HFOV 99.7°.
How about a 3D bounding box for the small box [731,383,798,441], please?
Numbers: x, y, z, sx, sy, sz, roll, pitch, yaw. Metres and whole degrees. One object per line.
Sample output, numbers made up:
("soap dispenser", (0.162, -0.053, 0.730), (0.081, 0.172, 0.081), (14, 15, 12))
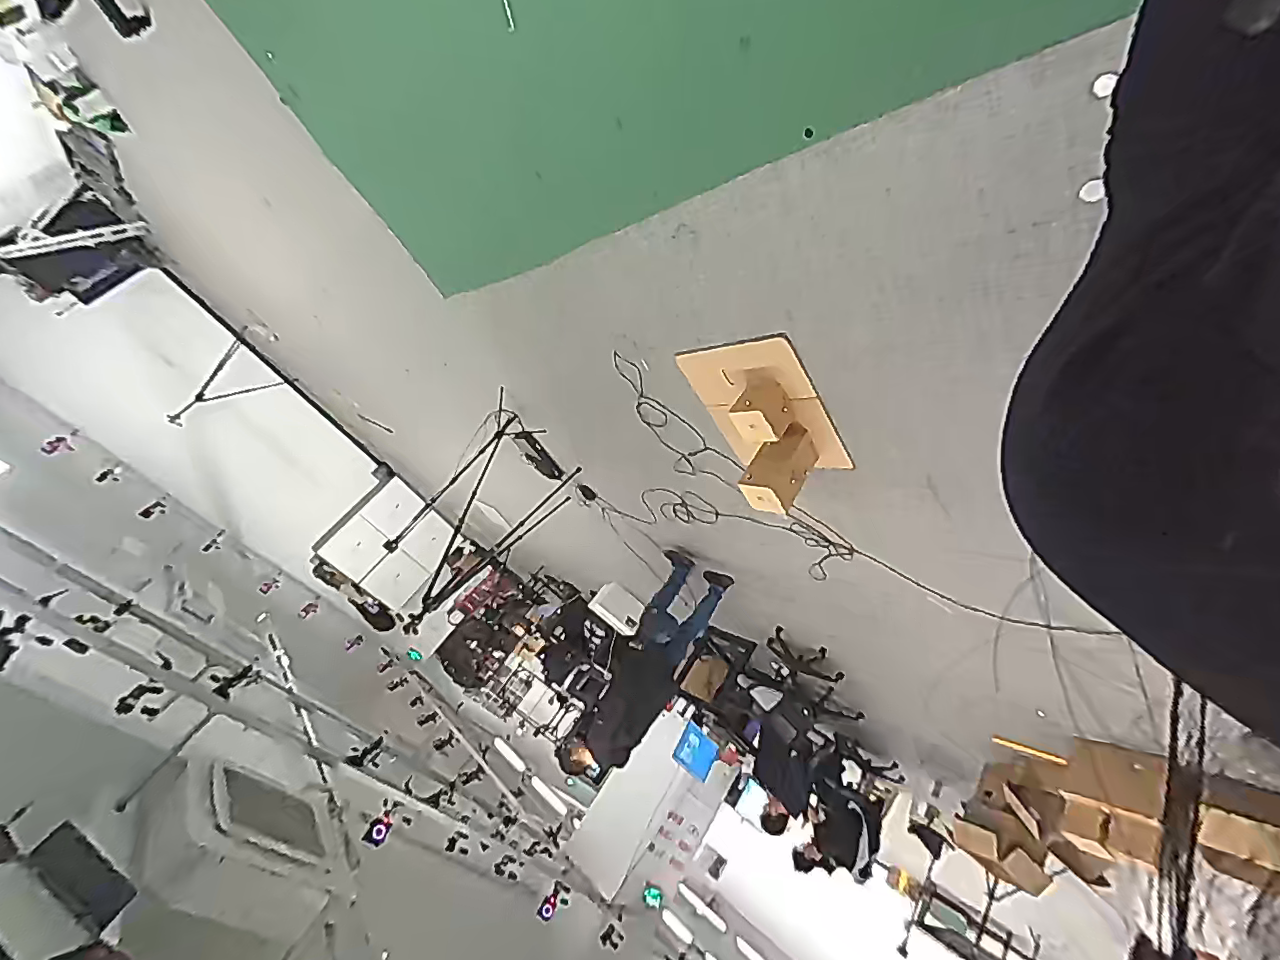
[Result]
("small box", (0.511, -0.276, 2.208), (0.179, 0.176, 0.168), (2, 138, 52))

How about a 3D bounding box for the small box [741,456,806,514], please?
("small box", (0.558, 0.015, 2.254), (0.179, 0.176, 0.168), (7, 144, 49))
